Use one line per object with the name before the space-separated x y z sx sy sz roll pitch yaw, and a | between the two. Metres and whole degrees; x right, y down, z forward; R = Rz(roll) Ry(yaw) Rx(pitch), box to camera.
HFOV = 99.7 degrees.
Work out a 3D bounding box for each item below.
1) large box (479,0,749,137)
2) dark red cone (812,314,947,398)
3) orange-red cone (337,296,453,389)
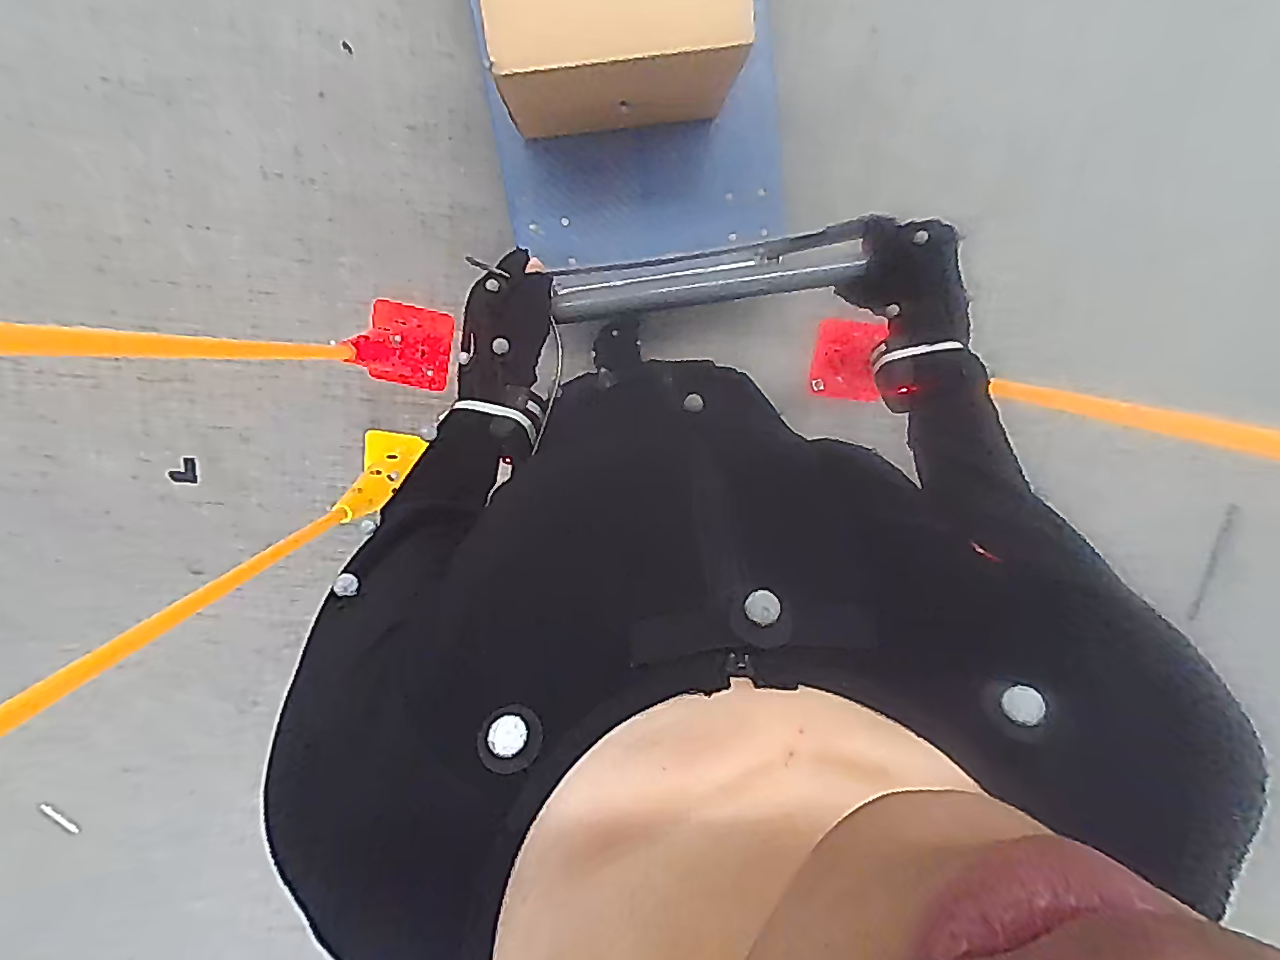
large box | -0.053 -0.824 0.922 0.408 0.320 0.320 -8 107 0
dark red cone | 0.564 -0.275 1.239 0.201 0.394 0.202 5 106 -6
orange-red cone | -0.569 -0.299 1.191 0.198 0.360 0.199 12 103 -7
